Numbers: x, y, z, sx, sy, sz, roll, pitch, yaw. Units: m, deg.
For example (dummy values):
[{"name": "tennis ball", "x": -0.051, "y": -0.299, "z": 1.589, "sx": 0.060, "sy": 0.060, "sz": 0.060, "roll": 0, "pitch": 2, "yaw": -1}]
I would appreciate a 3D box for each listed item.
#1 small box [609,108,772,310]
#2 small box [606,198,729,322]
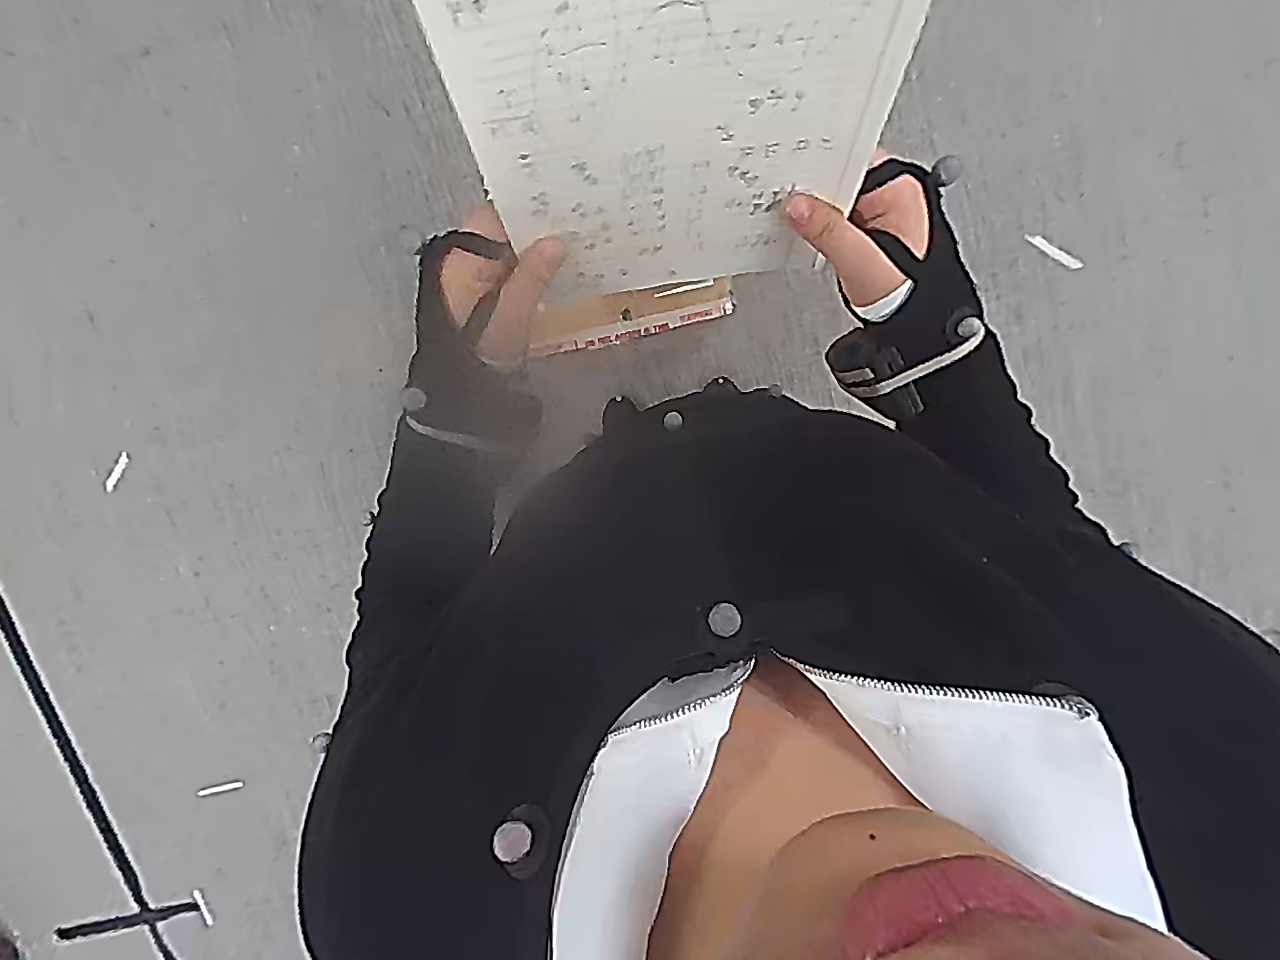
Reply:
[{"name": "small box", "x": 0.057, "y": -0.337, "z": 0.708, "sx": 0.168, "sy": 0.176, "sz": 0.179, "roll": -13, "pitch": 101, "yaw": 2}, {"name": "small box", "x": 0.052, "y": -0.365, "z": 0.870, "sx": 0.179, "sy": 0.176, "sz": 0.168, "roll": -17, "pitch": 100, "yaw": 3}]
